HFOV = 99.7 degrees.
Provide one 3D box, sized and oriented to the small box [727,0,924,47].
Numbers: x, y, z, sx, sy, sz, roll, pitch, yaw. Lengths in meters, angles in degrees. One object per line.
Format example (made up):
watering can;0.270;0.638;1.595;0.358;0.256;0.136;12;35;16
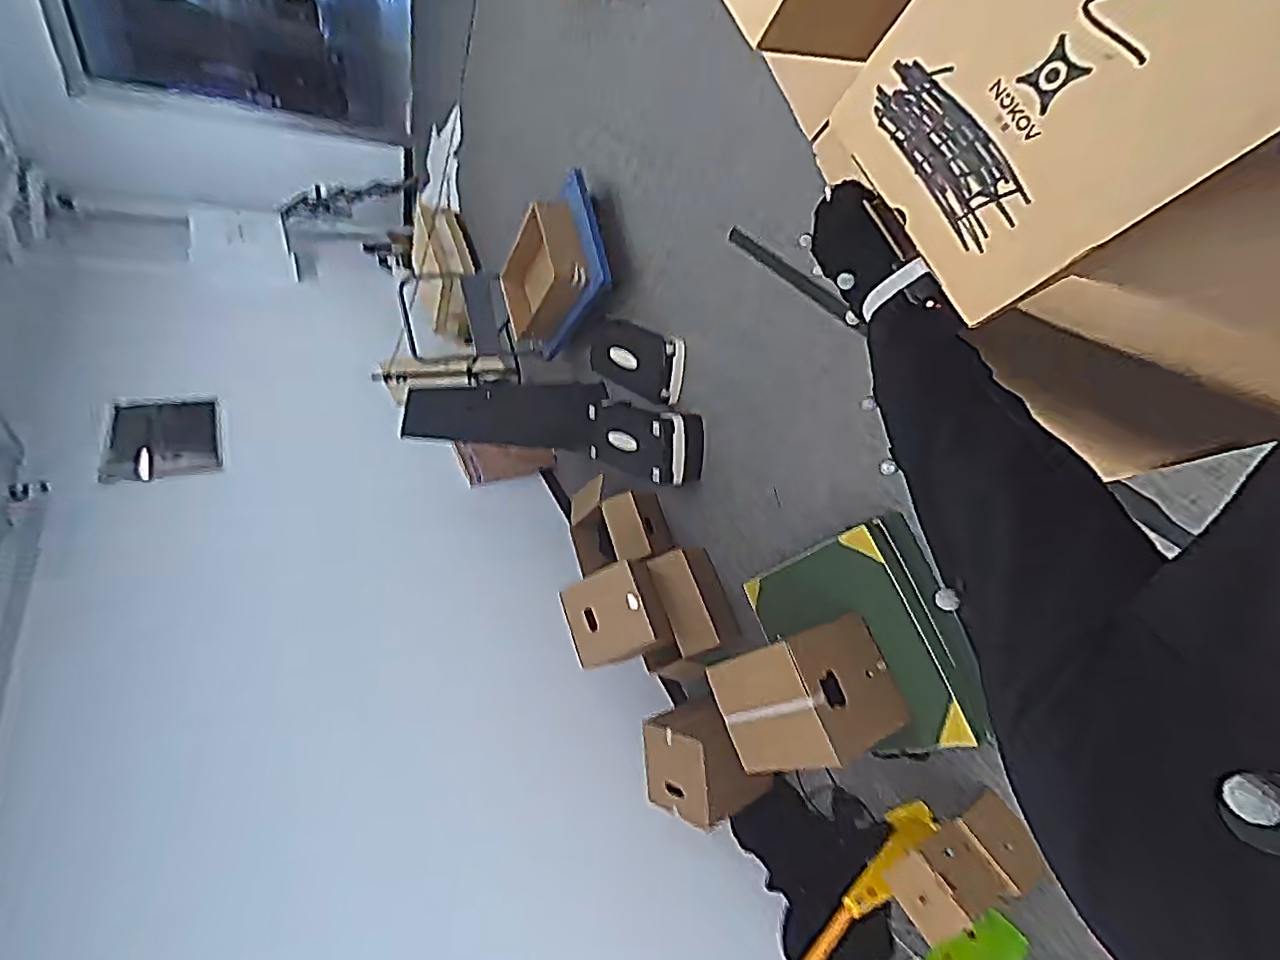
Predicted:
small box;0.142;-0.432;0.357;0.168;0.176;0.179;-35;78;59
